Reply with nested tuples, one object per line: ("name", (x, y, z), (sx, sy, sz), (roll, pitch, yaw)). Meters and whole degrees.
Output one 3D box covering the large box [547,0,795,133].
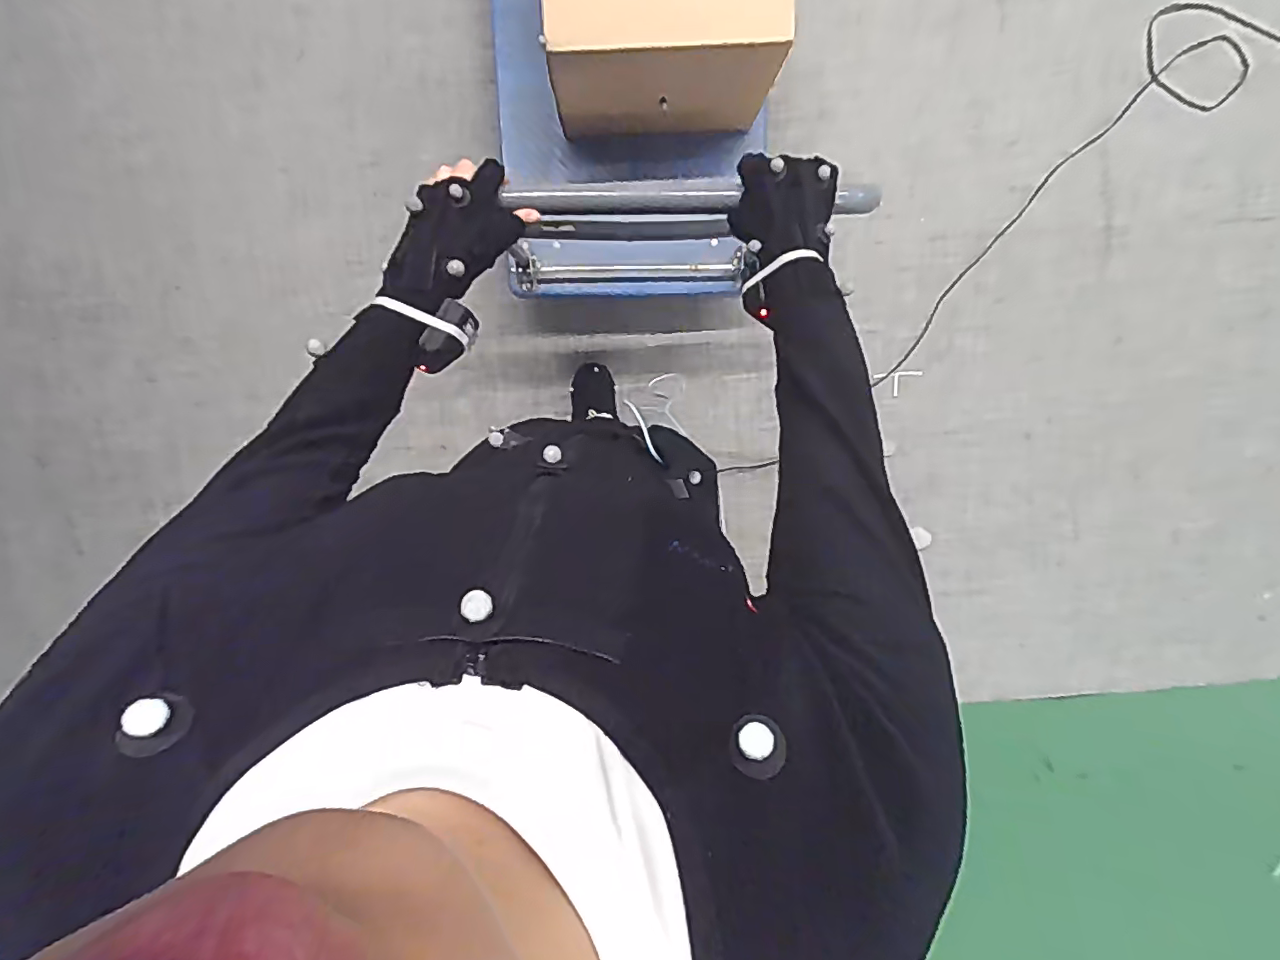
("large box", (0.044, -0.883, 0.998), (0.408, 0.320, 0.320), (-4, 100, 0))
